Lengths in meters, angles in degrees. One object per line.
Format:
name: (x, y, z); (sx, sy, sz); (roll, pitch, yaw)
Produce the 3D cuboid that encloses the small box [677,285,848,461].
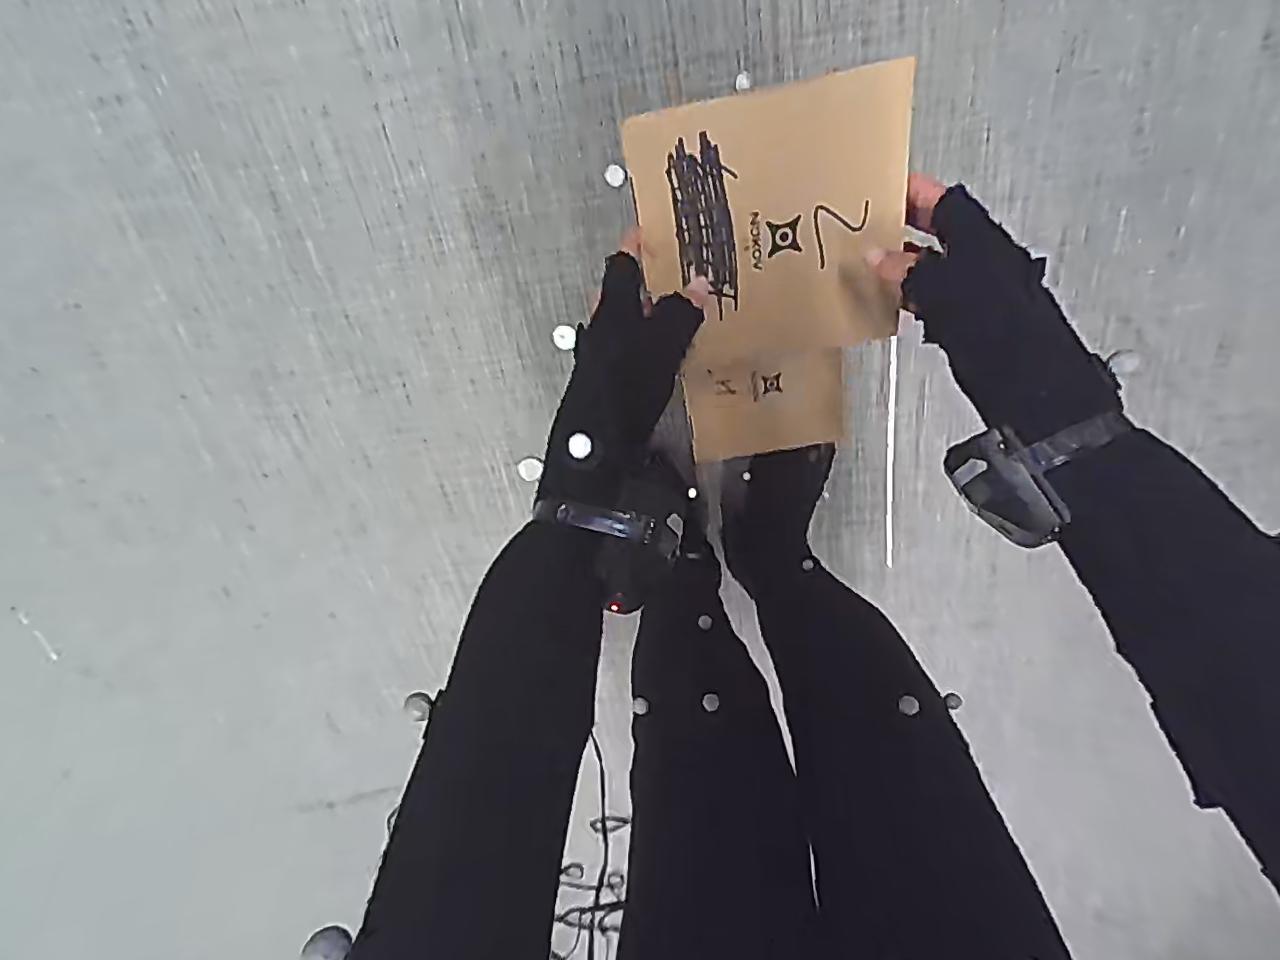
small box: (0.145, -0.140, 0.675); (0.179, 0.176, 0.168); (-8, 114, 6)
